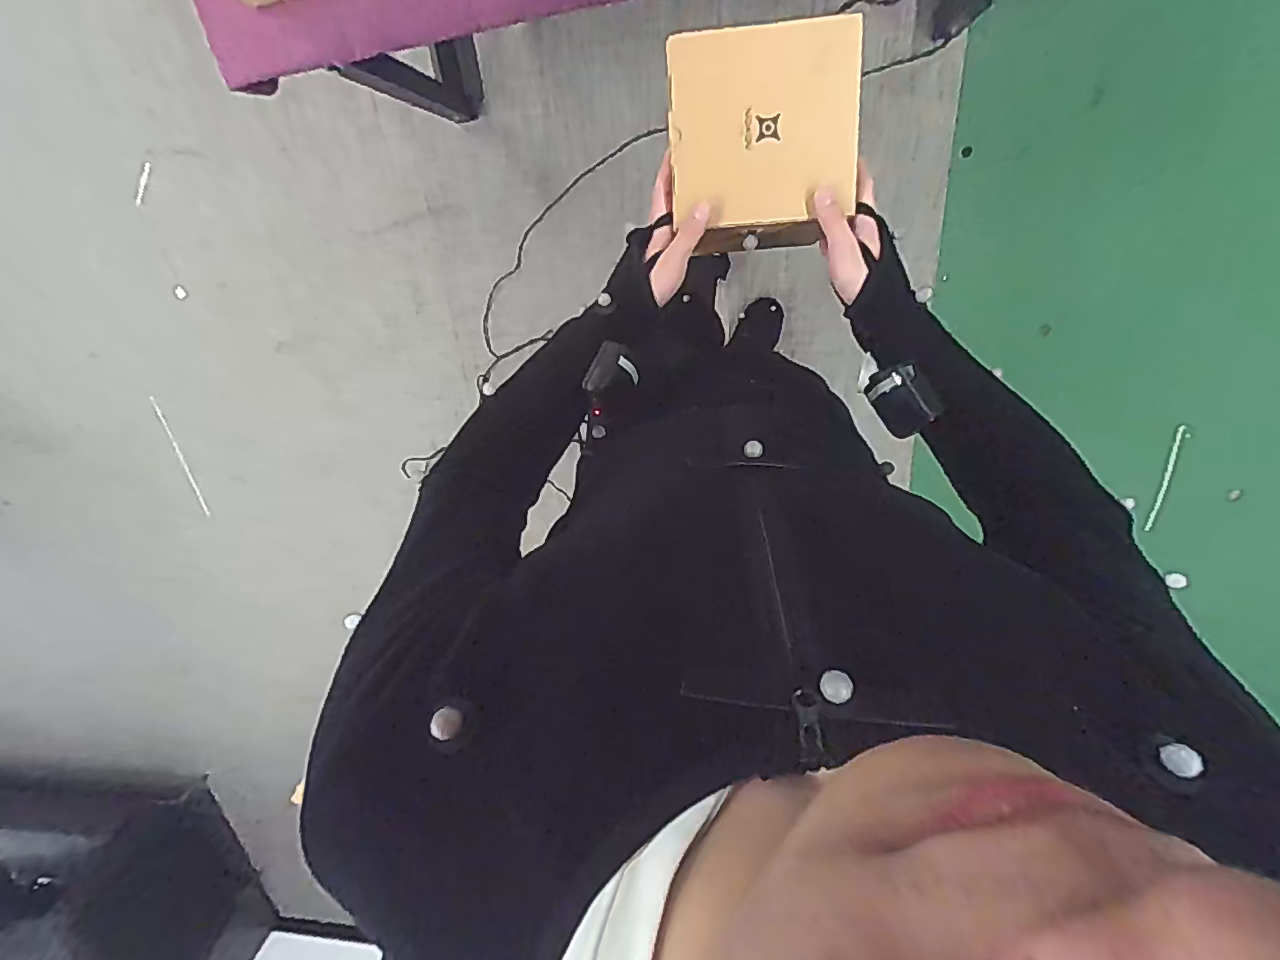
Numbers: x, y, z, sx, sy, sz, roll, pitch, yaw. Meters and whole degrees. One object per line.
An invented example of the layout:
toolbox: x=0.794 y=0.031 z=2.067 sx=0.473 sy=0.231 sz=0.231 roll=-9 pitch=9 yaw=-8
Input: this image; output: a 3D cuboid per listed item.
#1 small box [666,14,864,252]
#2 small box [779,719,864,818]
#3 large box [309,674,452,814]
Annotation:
small box: x=0.121 y=-0.346 z=0.575 sx=0.179 sy=0.176 sz=0.168 roll=-2 pitch=105 yaw=7
small box: x=0.522 y=0.839 z=1.582 sx=0.179 sy=0.176 sz=0.168 roll=-32 pitch=105 yaw=20
large box: x=-1.062 y=1.081 z=2.236 sx=0.408 sy=0.320 sz=0.320 roll=27 pitch=117 yaw=-4
